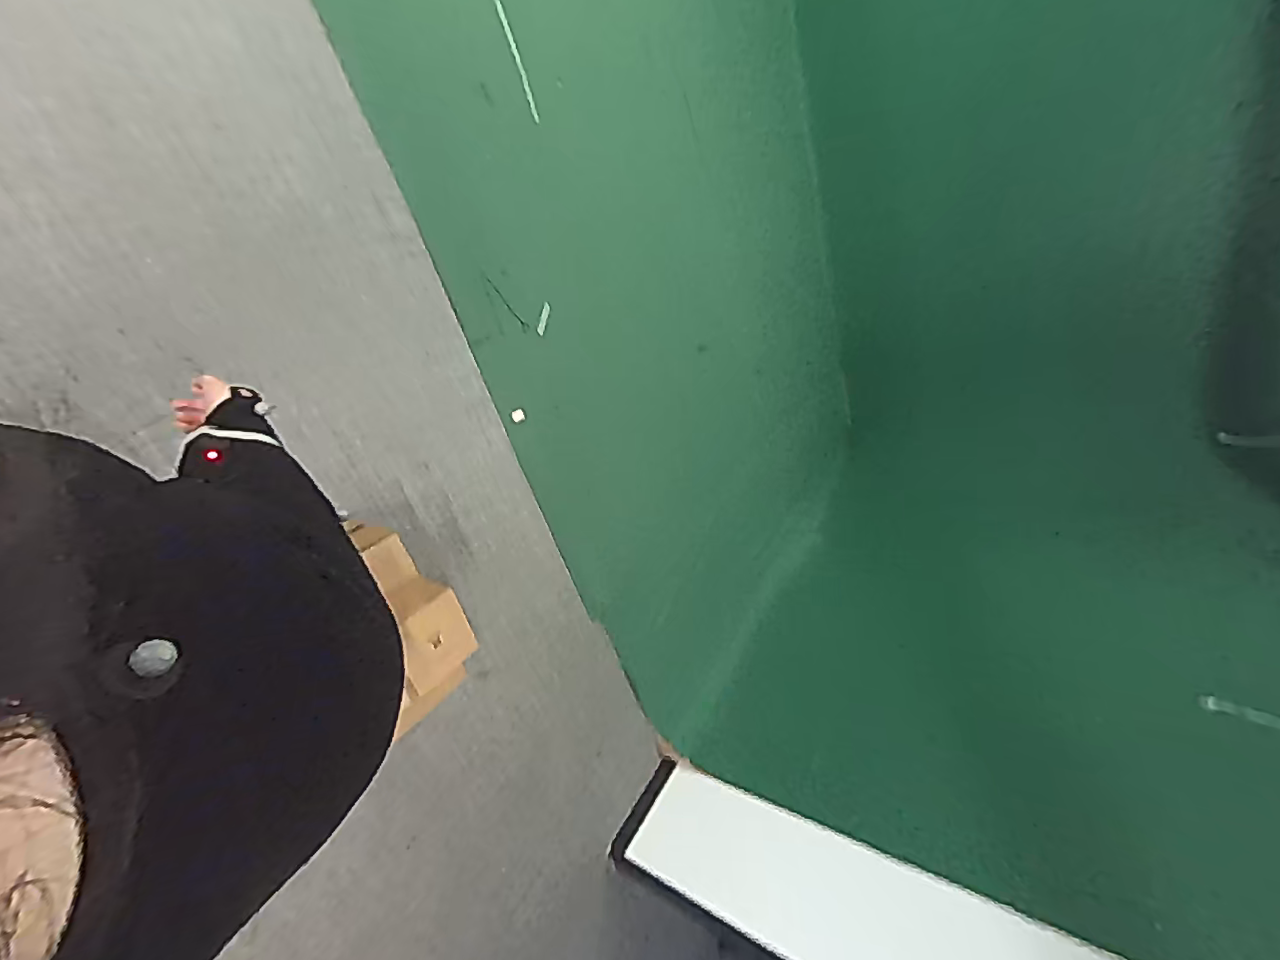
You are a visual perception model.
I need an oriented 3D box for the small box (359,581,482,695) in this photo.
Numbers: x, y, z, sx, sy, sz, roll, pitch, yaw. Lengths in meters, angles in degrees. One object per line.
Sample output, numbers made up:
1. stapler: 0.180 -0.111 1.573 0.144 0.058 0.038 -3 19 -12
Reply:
1. small box: -0.497 0.344 1.223 0.168 0.176 0.179 -38 122 -42
